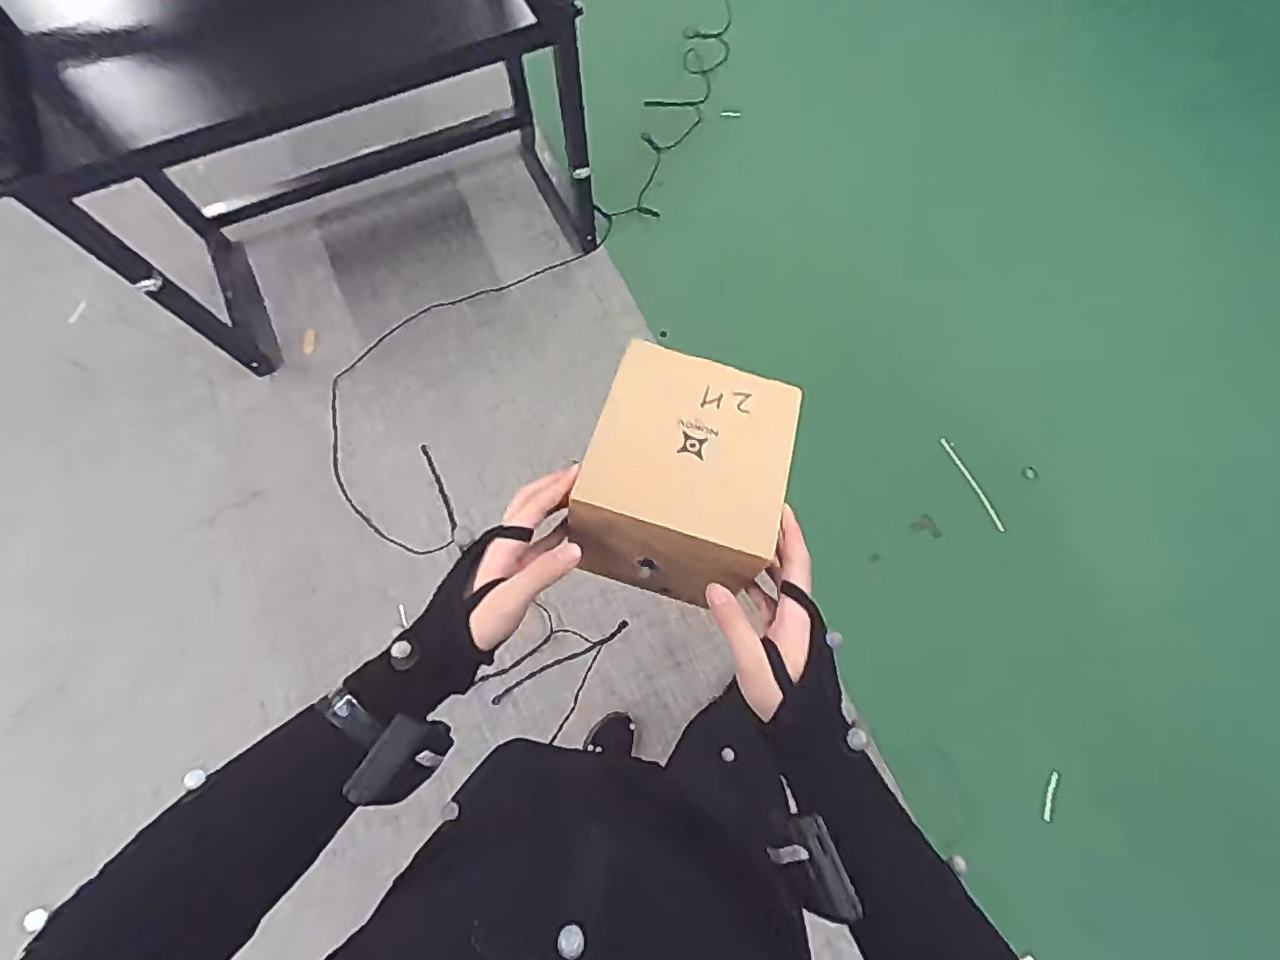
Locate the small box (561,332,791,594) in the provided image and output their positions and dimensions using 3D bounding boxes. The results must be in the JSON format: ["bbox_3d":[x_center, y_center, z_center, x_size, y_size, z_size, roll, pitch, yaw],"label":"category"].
[{"bbox_3d":[0.030,-0.006,0.530,0.168,0.176,0.179,17,61,1],"label":"small box"}]
